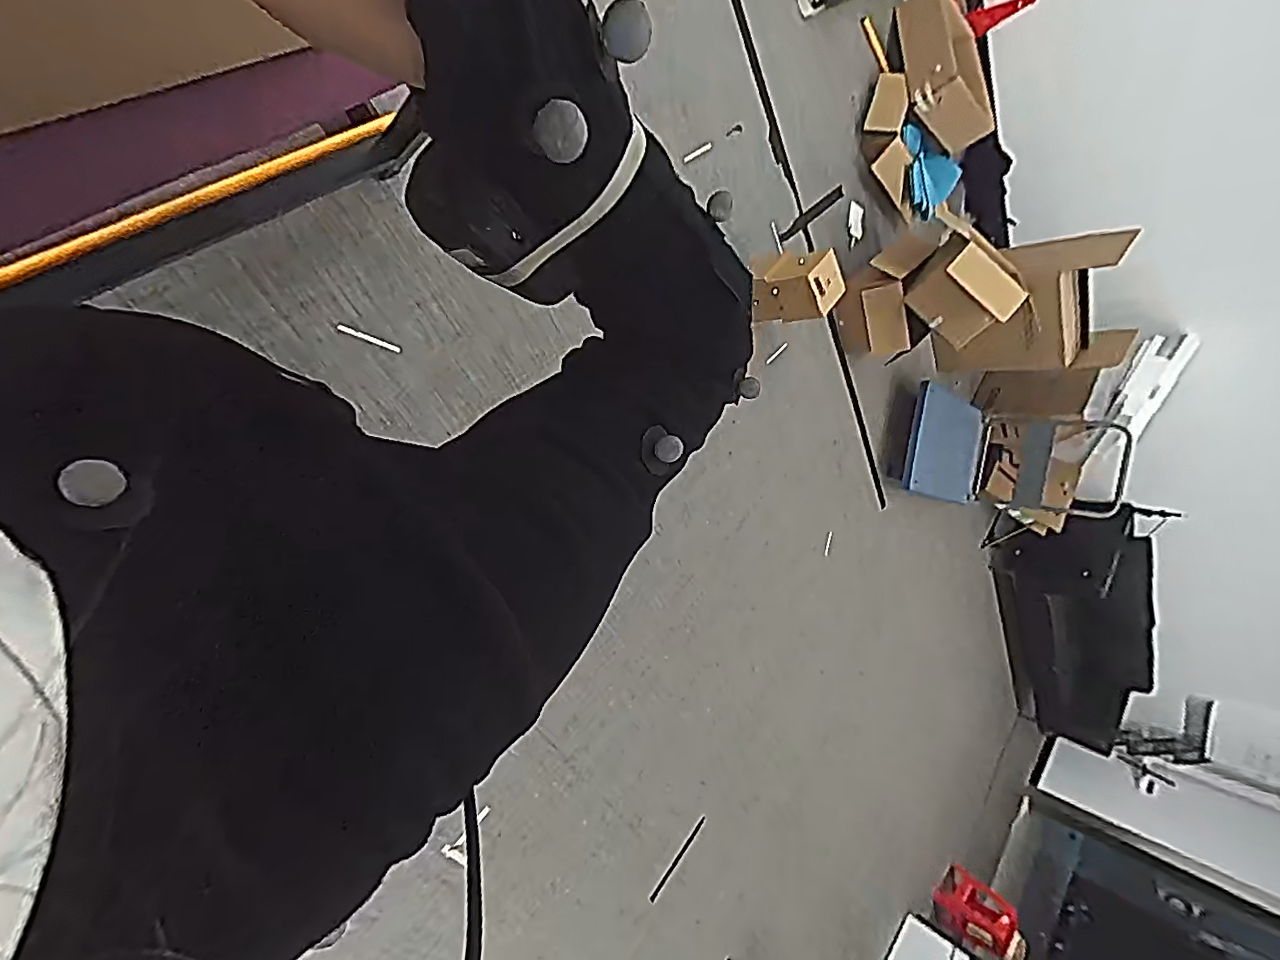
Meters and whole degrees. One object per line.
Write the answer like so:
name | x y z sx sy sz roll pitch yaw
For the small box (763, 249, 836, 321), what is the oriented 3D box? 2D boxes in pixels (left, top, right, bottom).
small box | 0.555 -0.681 1.903 0.179 0.176 0.168 -50 125 -24
